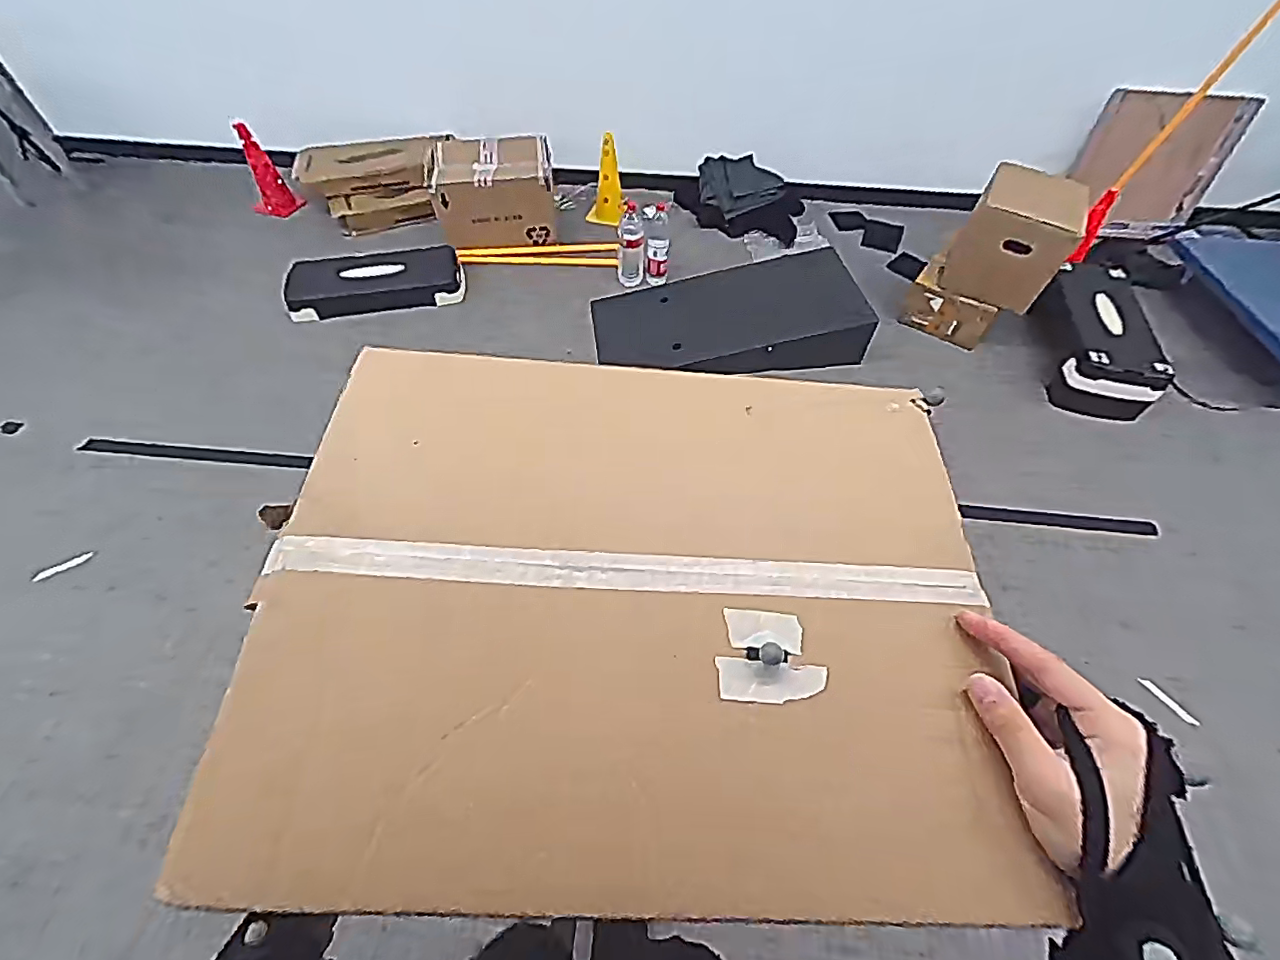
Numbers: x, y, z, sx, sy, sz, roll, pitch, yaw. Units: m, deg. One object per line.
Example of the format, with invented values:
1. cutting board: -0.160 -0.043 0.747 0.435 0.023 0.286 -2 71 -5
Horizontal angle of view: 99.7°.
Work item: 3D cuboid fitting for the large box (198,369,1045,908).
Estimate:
1. large box: -0.011 0.137 0.452 0.408 0.320 0.320 4 60 -4
